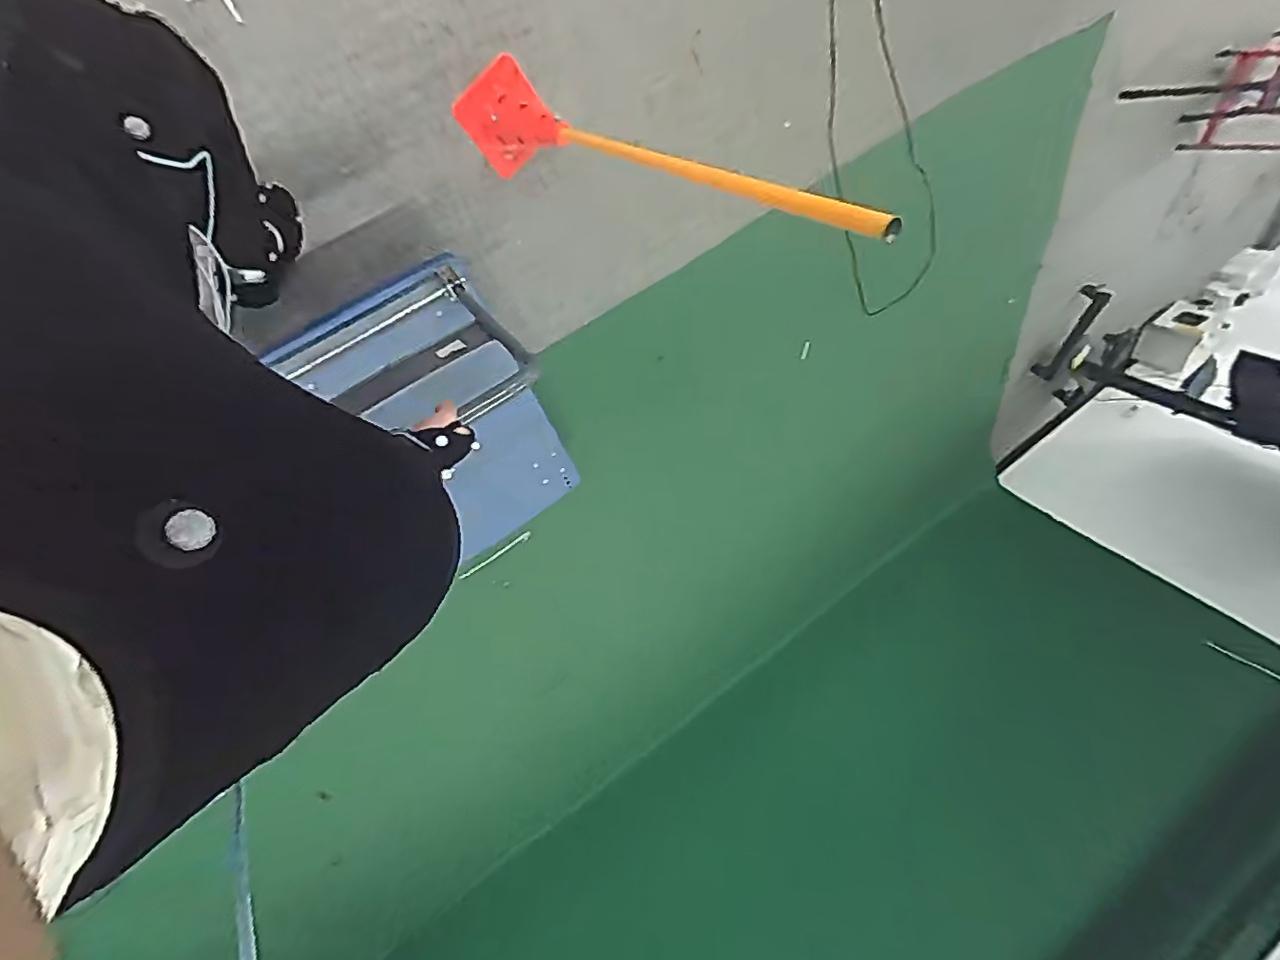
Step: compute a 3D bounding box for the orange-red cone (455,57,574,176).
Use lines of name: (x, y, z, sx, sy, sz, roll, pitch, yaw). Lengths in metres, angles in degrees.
orange-red cone: (-0.245, -0.808, 1.232, 0.199, 0.360, 0.198, -45, 139, 0)
